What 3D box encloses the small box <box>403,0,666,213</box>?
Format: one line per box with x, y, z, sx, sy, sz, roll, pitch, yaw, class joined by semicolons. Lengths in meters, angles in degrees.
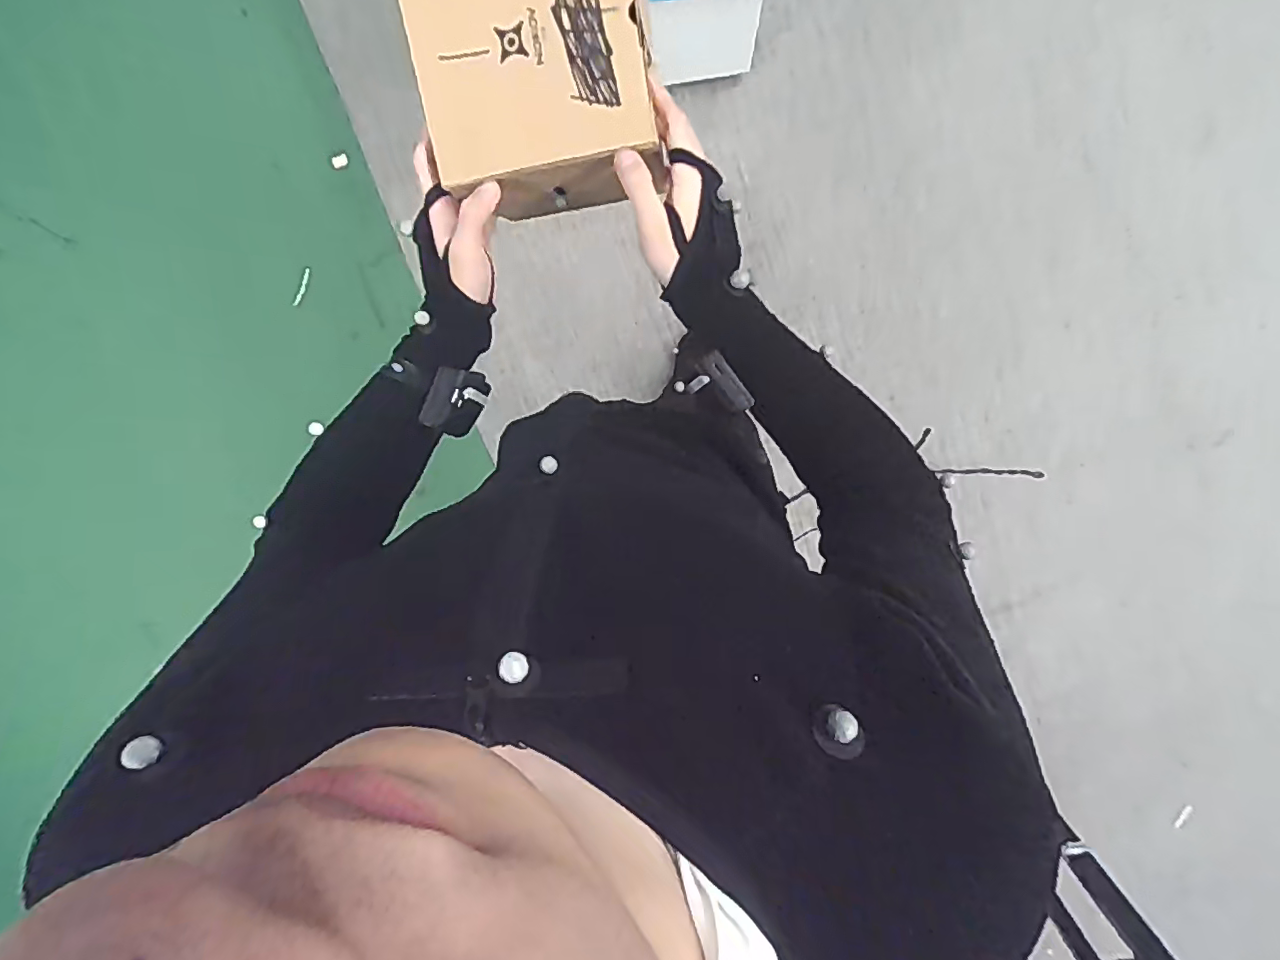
-0.073;-0.346;0.468;0.179;0.176;0.168;-6;106;9;small box
